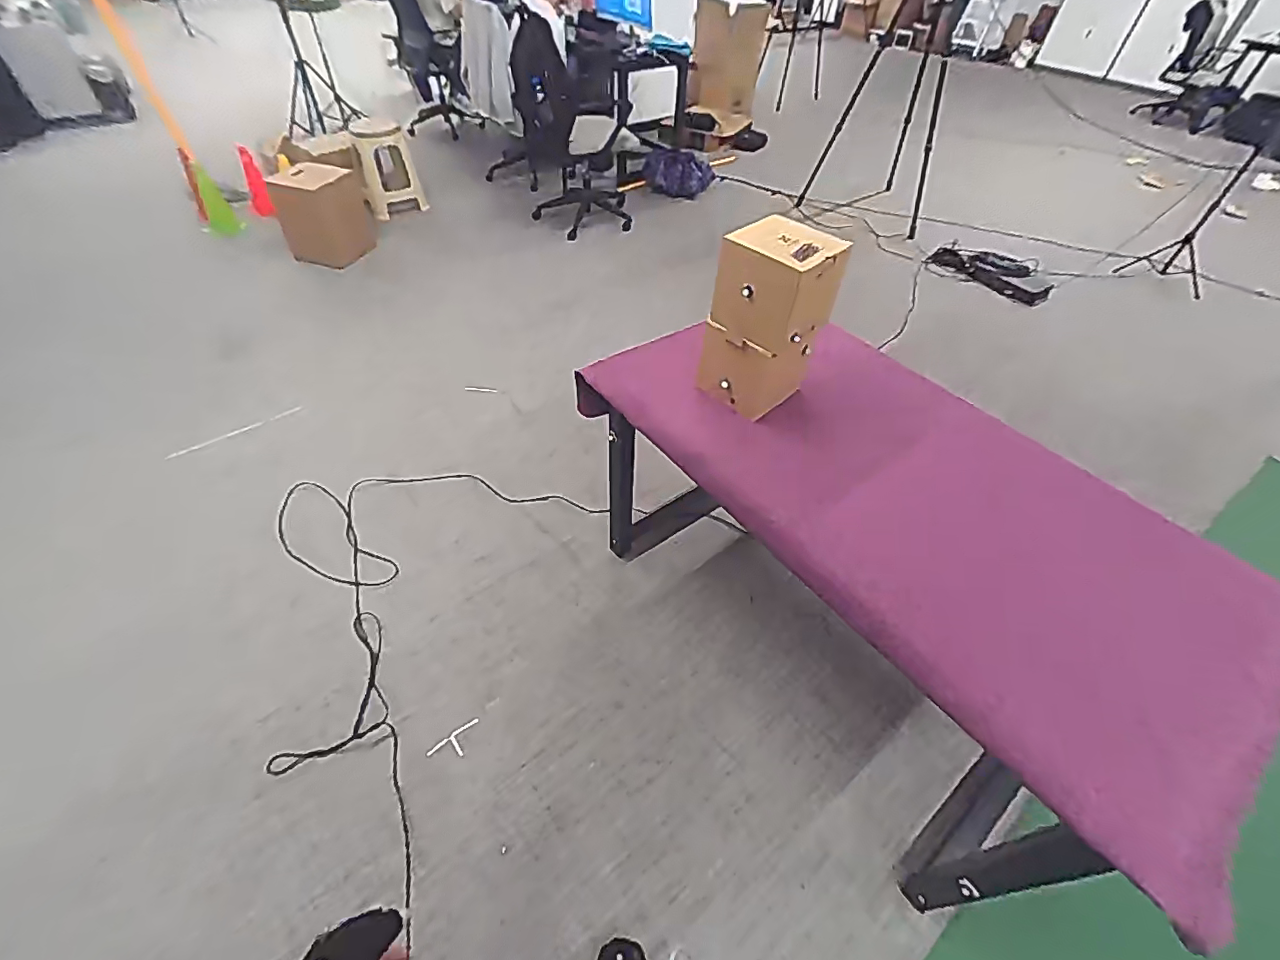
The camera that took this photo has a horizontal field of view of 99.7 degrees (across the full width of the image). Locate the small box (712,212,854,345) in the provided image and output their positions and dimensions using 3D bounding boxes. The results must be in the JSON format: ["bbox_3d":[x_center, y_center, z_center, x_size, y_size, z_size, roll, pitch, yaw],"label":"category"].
[{"bbox_3d":[0.260,-0.375,1.019,0.168,0.176,0.179,-31,57,-29],"label":"small box"}]

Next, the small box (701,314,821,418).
[{"bbox_3d":[0.247,-0.264,1.144,0.179,0.176,0.168,-34,57,-29],"label":"small box"}]
